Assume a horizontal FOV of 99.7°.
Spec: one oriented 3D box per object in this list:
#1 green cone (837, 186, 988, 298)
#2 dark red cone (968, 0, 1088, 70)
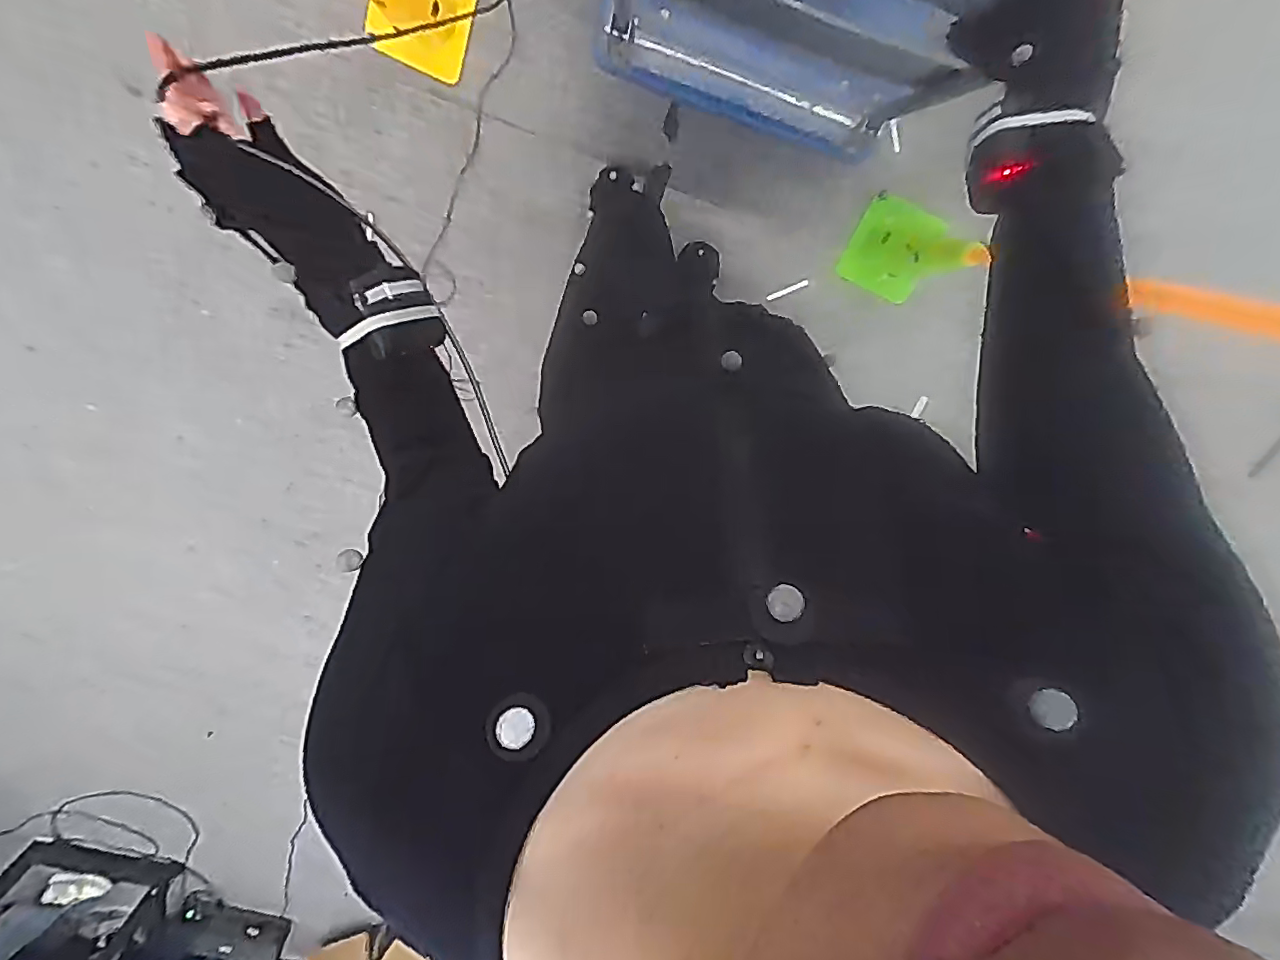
[{"bbox_3d":[0.595,-0.485,1.127,0.202,0.368,0.200,21,114,-11],"label":"green cone"},{"bbox_3d":[0.777,-0.883,0.918,0.201,0.394,0.202,17,115,-10],"label":"dark red cone"}]
